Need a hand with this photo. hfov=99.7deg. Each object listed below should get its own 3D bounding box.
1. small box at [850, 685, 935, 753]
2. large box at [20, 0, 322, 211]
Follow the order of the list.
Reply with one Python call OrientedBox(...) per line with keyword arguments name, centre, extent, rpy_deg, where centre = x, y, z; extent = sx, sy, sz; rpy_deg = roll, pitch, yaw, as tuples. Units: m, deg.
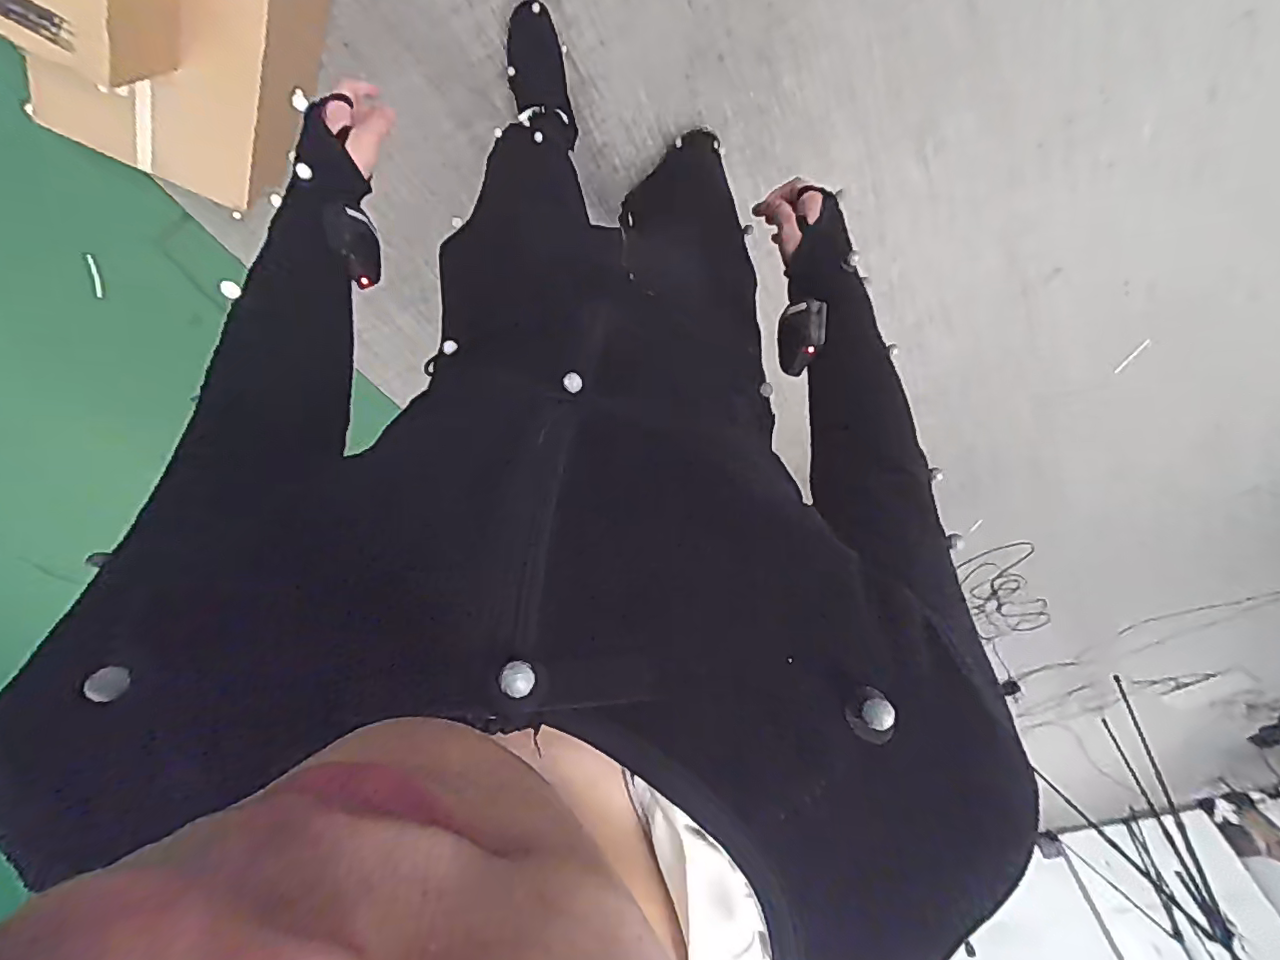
OrientedBox(name="small box", centre=(0.849, 0.813, 1.842), extent=(0.179, 0.176, 0.168), rpy_deg=(6, 134, -13))
OrientedBox(name="large box", centre=(-0.797, -0.790, 0.959), extent=(0.320, 0.320, 0.408), rpy_deg=(20, 129, -24))
